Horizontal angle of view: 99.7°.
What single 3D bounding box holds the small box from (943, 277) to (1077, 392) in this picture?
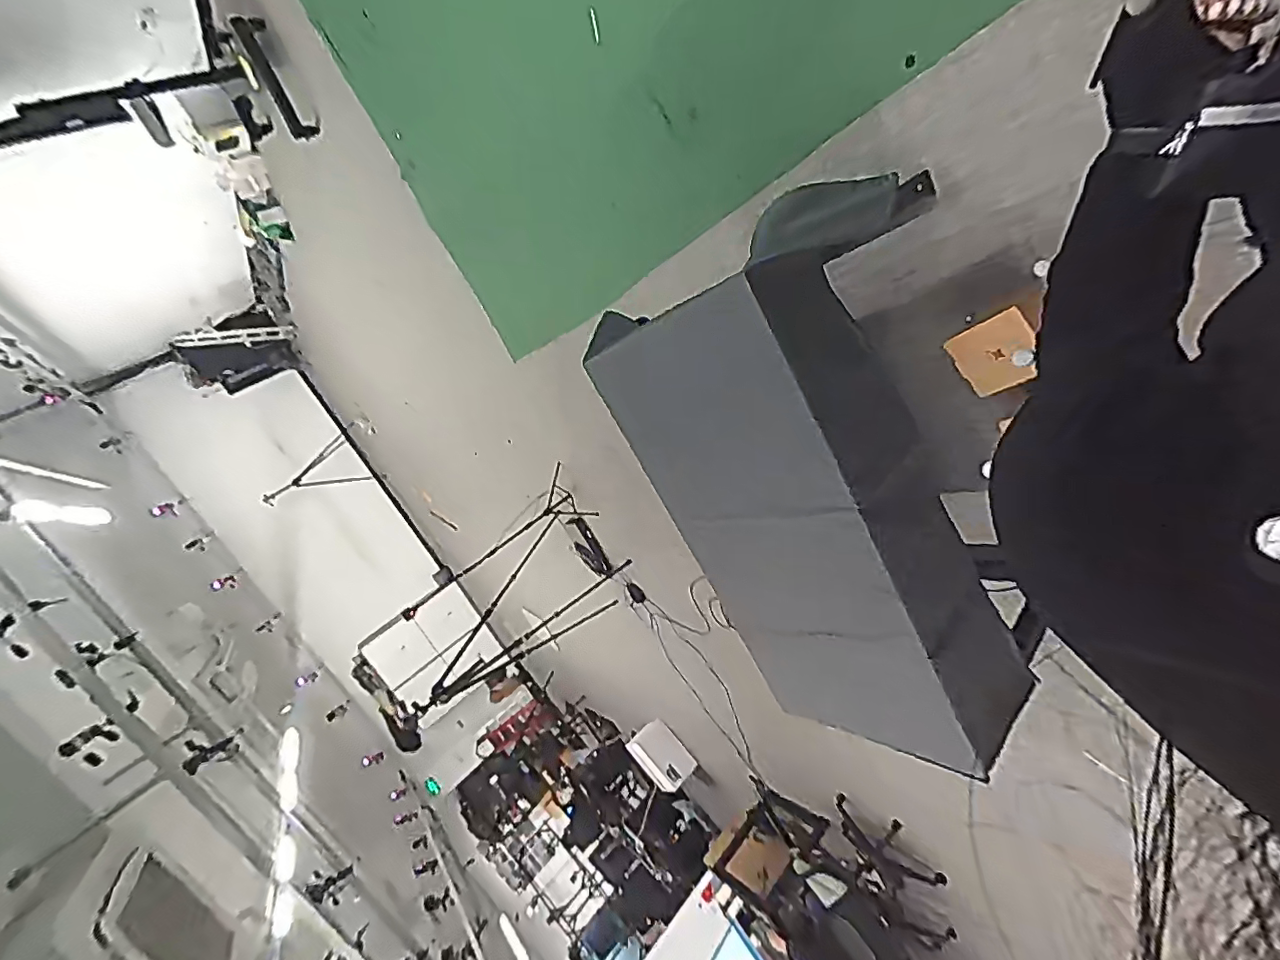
[{"bbox_3d":[0.866,-0.339,1.267,0.168,0.176,0.179,53,152,-4],"label":"small box"}]
